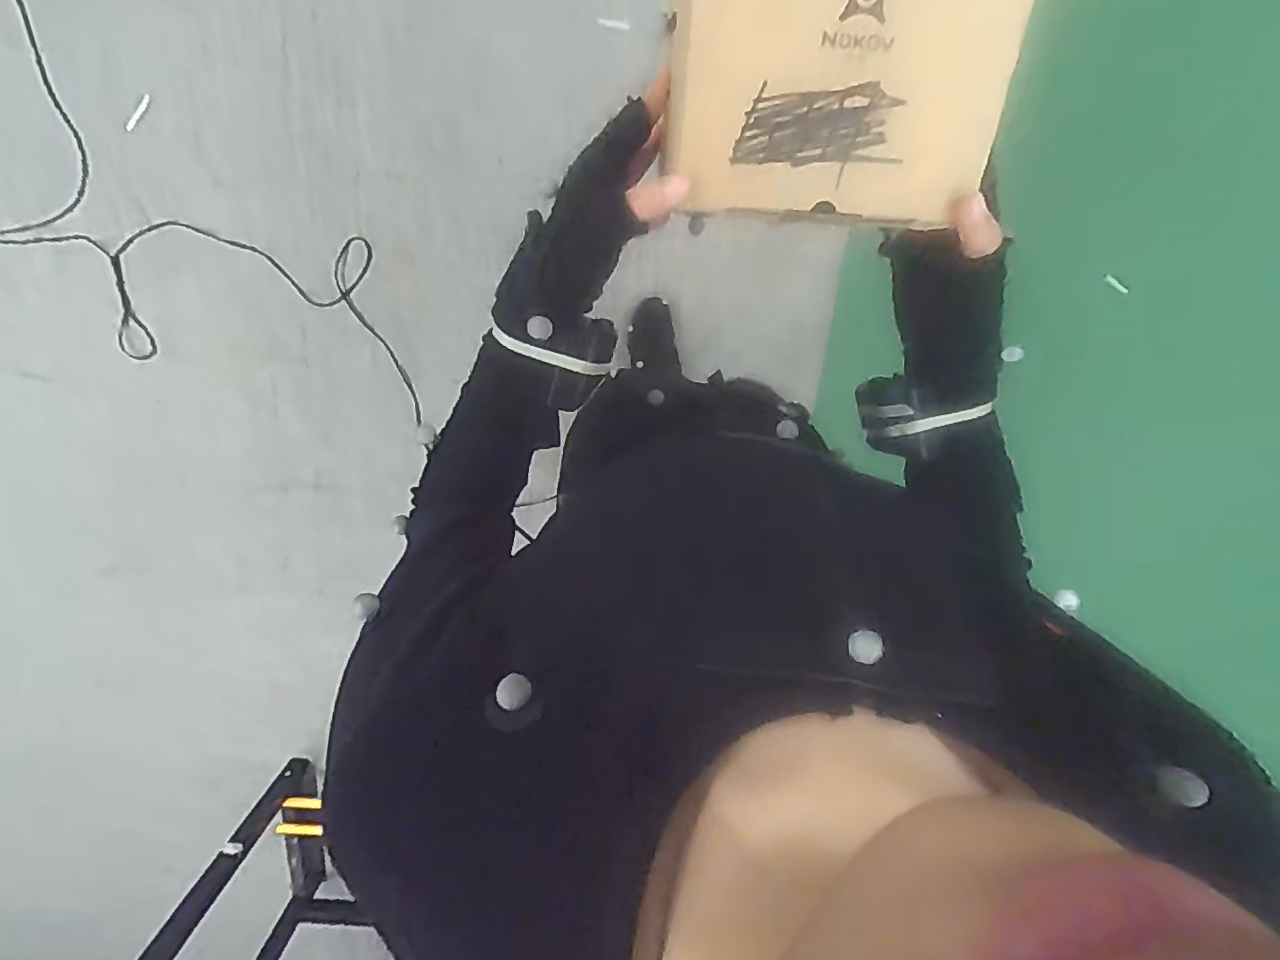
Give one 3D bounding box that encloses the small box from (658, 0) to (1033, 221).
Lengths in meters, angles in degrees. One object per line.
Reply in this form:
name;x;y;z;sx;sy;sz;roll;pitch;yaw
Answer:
small box;0.102;-0.259;0.327;0.168;0.176;0.179;3;115;-4
